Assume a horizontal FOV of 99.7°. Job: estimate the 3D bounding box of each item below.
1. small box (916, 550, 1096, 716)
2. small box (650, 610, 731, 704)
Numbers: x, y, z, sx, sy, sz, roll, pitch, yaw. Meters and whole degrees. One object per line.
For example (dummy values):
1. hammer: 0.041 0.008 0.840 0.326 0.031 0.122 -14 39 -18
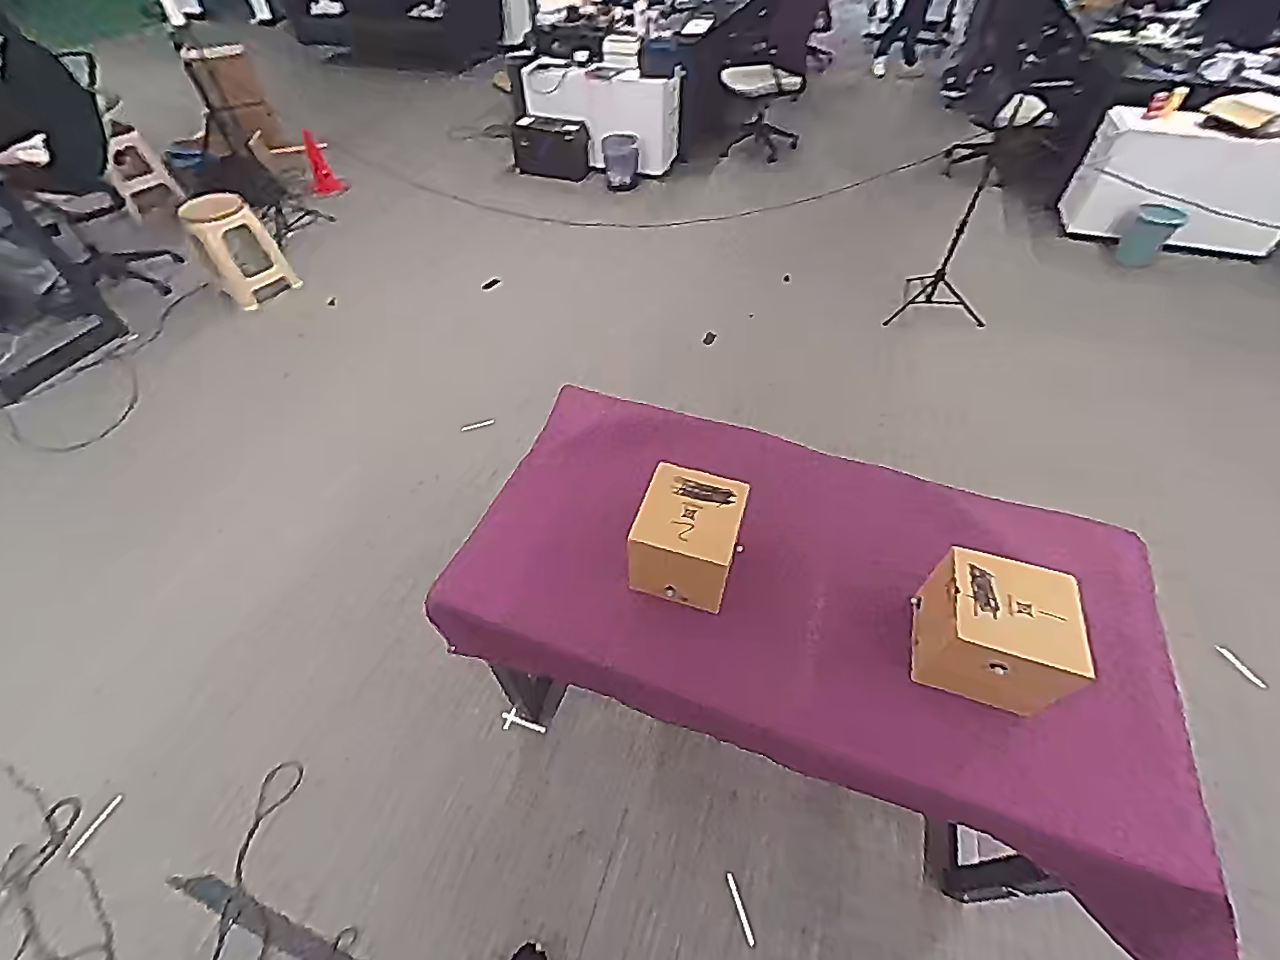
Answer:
1. small box: 0.549 0.241 0.840 0.179 0.176 0.168 16 52 13
2. small box: 0.132 0.481 1.452 0.179 0.176 0.168 14 51 12
